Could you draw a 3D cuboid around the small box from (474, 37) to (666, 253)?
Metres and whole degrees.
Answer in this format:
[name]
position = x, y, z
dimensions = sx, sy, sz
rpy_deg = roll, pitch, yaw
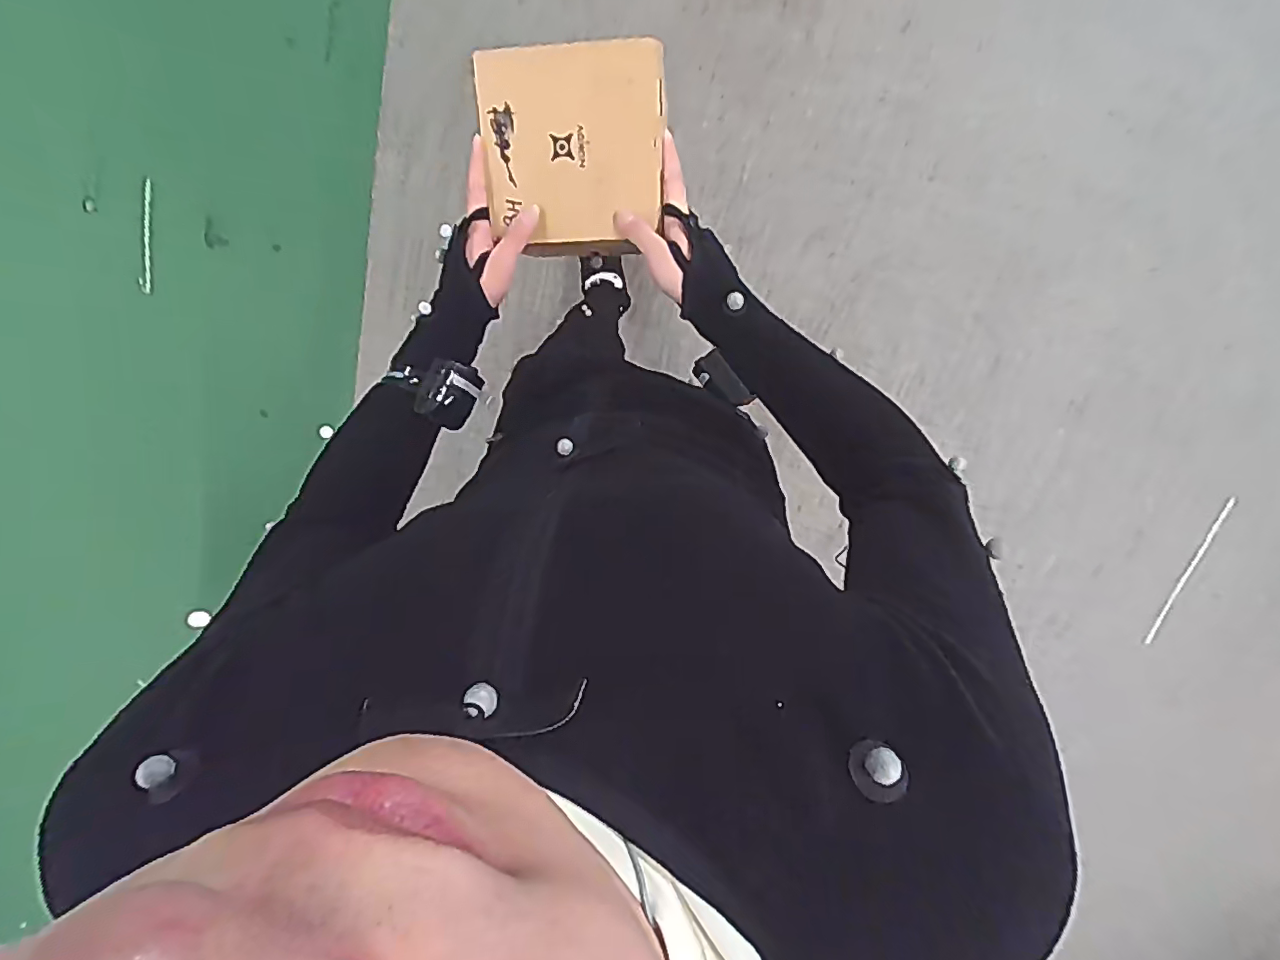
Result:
[small box]
position = -0.060, -0.344, 0.586
dimensions = 0.179, 0.176, 0.168
rpy_deg = 0, 108, 4
